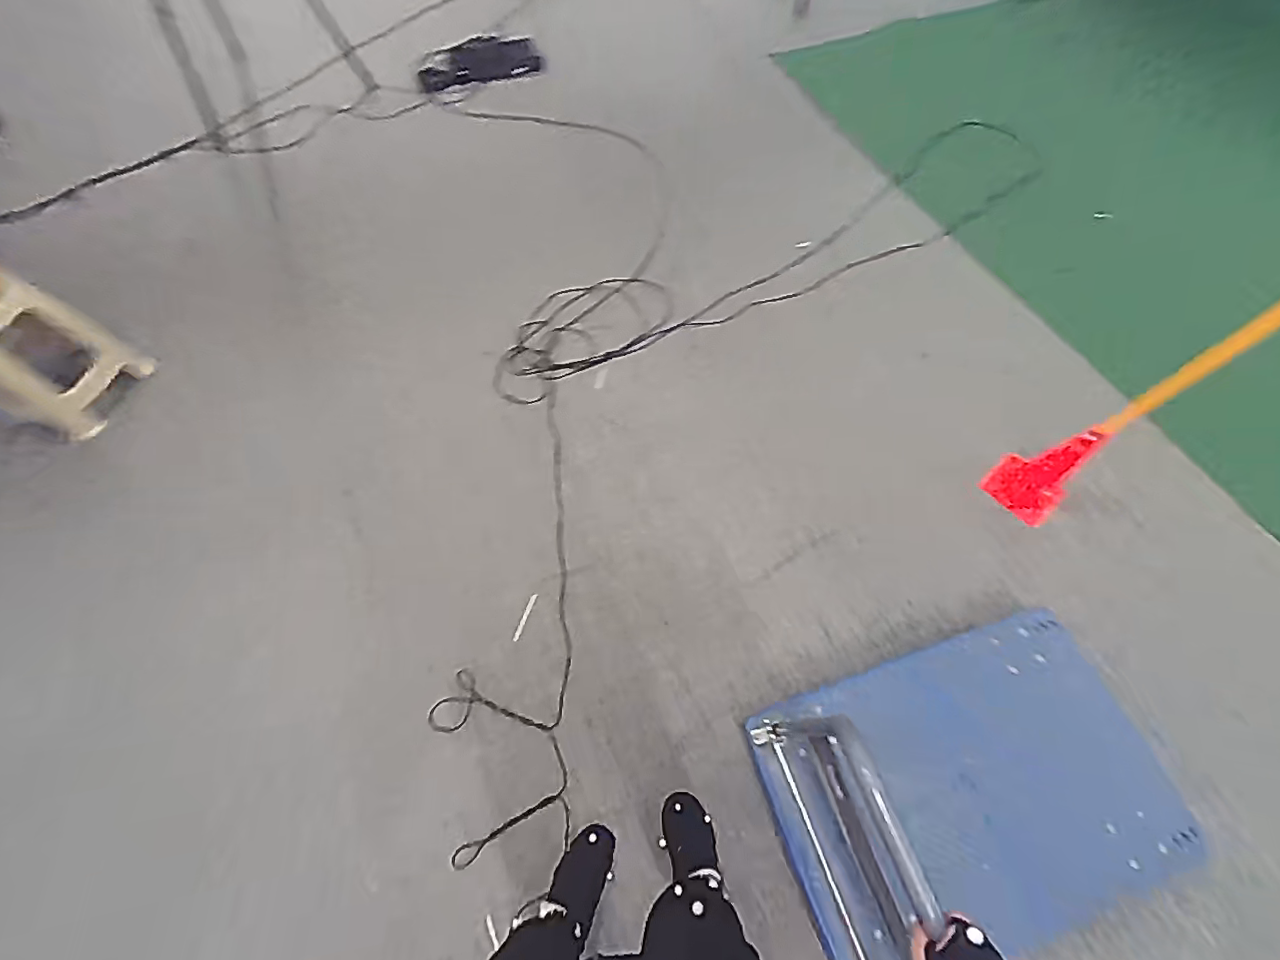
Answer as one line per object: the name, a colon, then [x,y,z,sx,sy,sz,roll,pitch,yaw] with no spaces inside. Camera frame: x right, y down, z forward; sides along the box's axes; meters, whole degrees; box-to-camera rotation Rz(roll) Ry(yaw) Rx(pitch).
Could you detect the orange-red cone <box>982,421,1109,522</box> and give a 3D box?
orange-red cone: [1.234,-0.060,1.598,0.198,0.360,0.199,-36,67,-18]
